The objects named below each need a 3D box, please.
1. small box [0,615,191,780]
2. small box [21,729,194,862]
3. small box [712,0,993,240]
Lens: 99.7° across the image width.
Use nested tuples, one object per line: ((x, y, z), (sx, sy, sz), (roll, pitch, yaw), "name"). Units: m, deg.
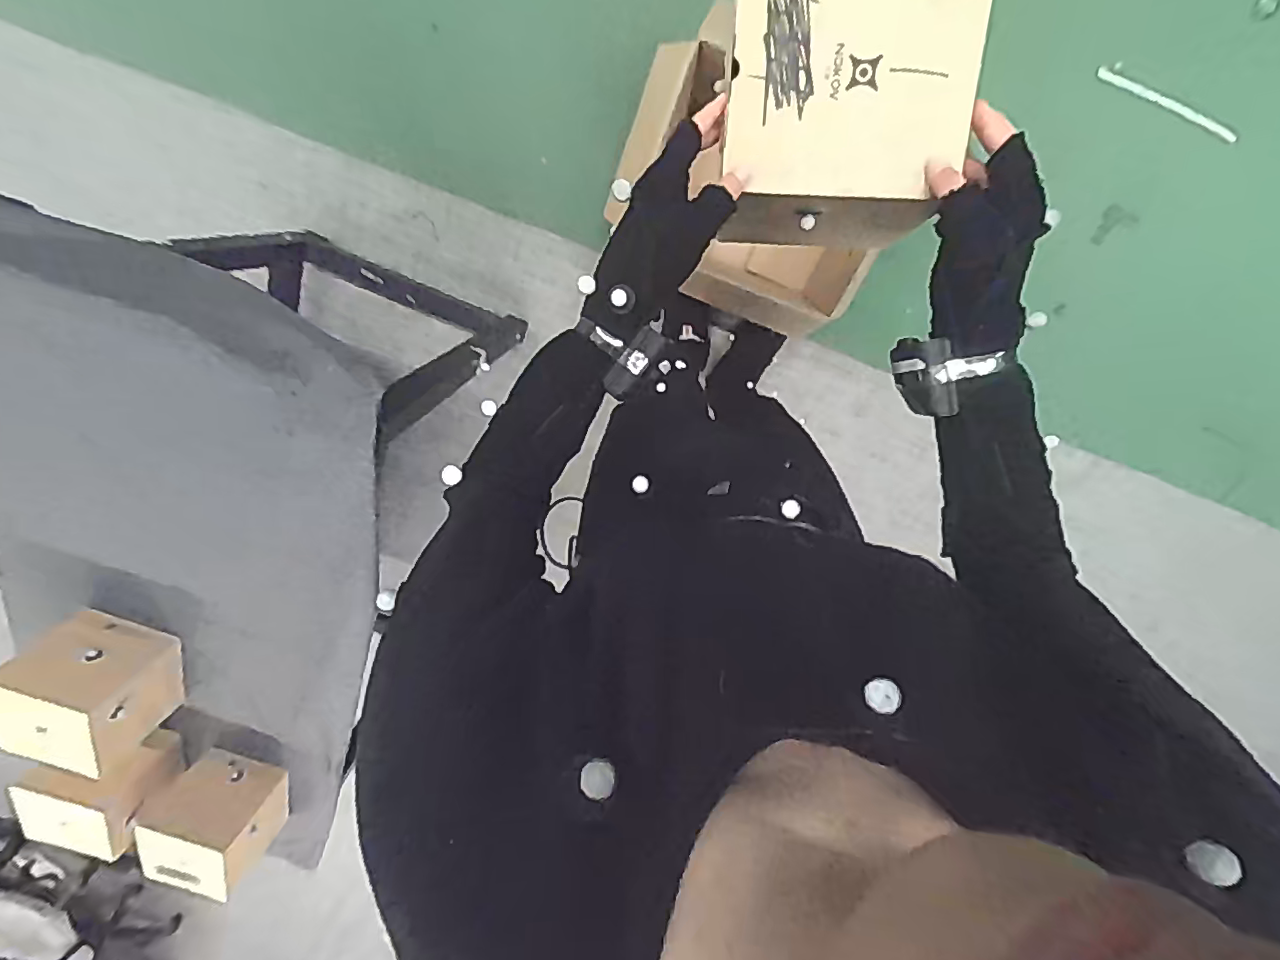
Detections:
((-0.913, 0.361, 0.921), (0.168, 0.176, 0.179), (20, 117, -3), "small box")
((-1.019, 0.593, 1.054), (0.168, 0.176, 0.179), (20, 118, -4), "small box")
((0.155, -0.305, 0.449), (0.179, 0.176, 0.168), (5, 103, 7), "small box")
